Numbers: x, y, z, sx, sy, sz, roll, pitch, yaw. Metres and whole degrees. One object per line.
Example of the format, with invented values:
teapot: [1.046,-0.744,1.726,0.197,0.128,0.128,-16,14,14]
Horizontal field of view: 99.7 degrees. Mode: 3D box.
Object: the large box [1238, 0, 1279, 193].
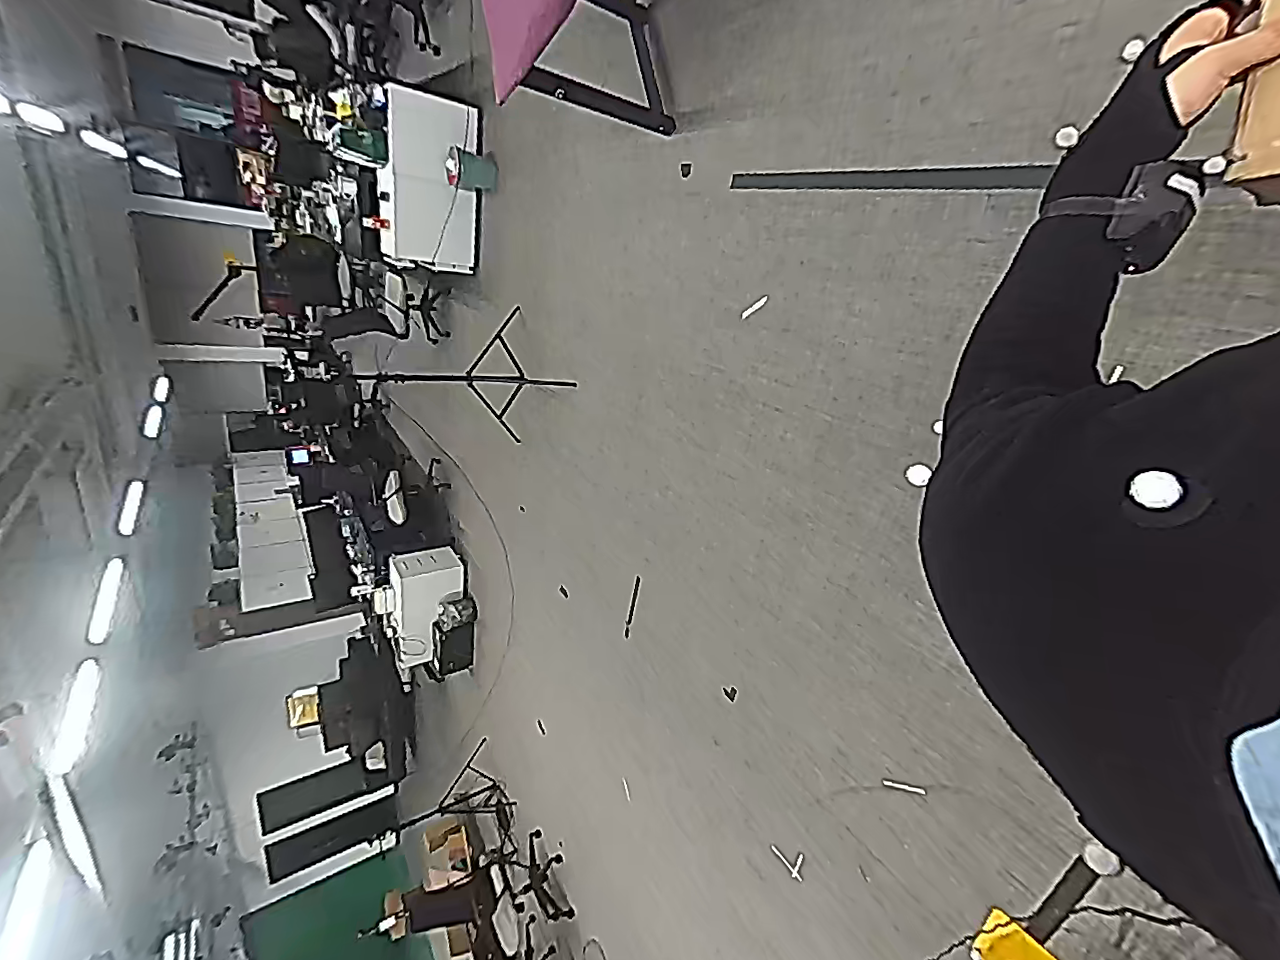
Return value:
large box: [0.667,-0.358,0.272,0.408,0.320,0.320,20,115,57]
